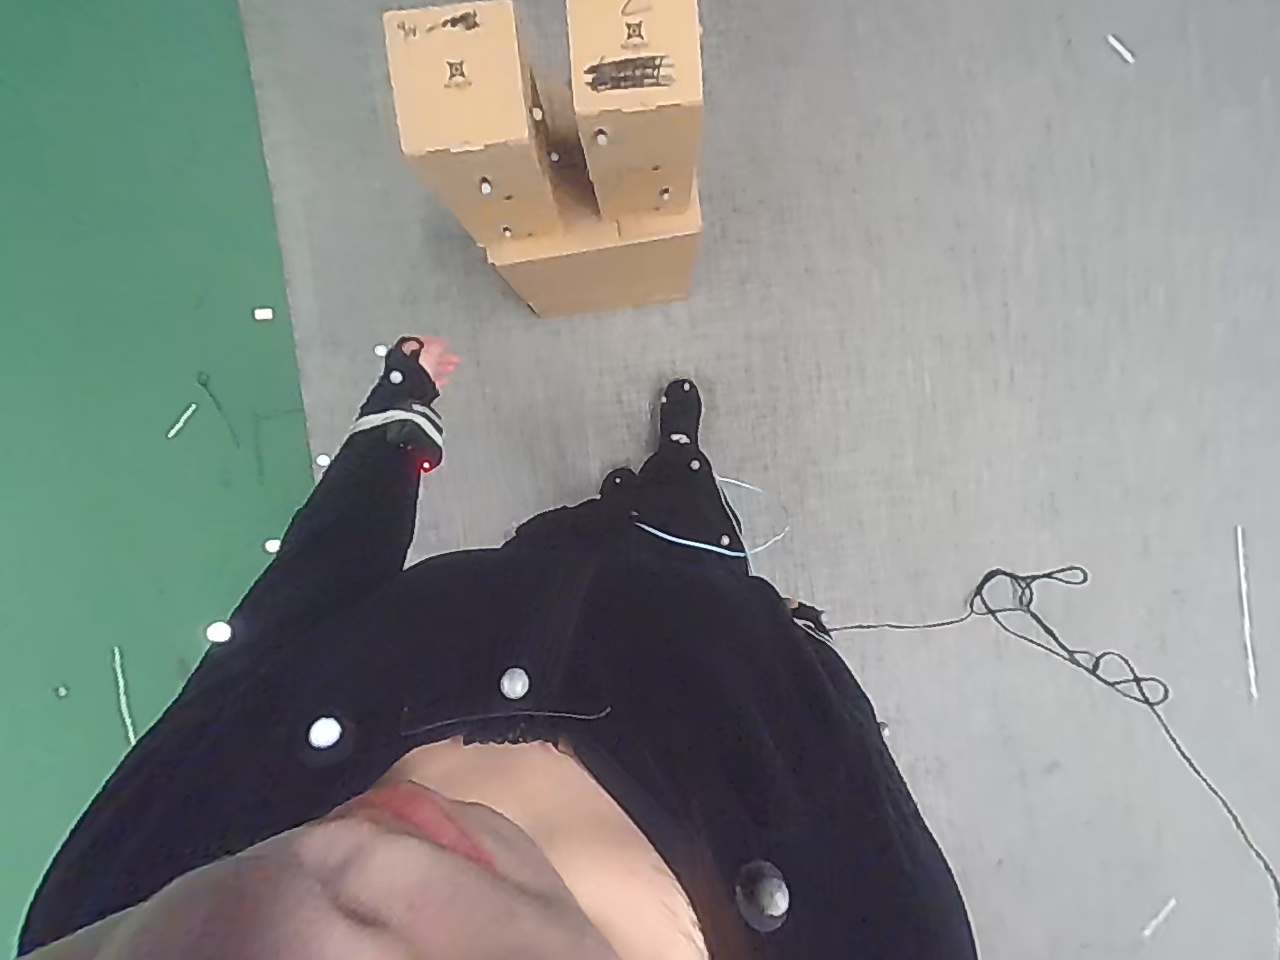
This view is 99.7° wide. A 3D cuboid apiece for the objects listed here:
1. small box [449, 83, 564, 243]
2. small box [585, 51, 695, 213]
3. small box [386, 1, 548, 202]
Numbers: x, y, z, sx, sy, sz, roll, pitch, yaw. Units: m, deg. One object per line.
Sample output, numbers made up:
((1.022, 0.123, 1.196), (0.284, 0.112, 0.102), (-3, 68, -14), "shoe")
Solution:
((-0.229, -0.531, 0.925), (0.168, 0.176, 0.179), (-7, 95, 0), "small box")
((0.004, -0.573, 0.917), (0.168, 0.176, 0.179), (-4, 93, 2), "small box")
((-0.229, -0.512, 0.762), (0.168, 0.176, 0.179), (-6, 95, 0), "small box")
